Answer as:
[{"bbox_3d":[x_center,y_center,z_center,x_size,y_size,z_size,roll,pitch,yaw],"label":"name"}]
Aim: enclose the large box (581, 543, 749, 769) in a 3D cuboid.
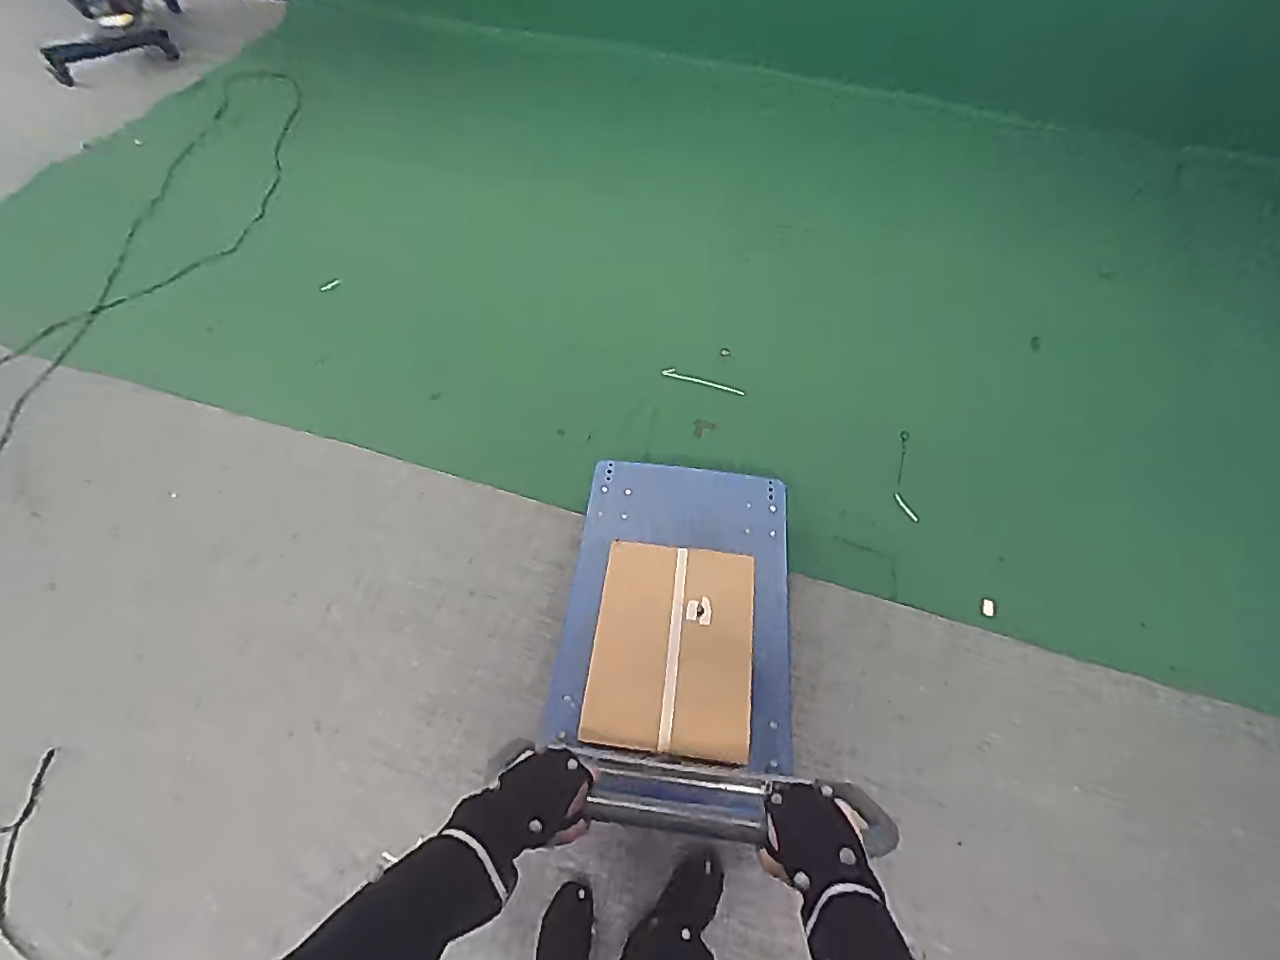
[{"bbox_3d":[0.064,0.401,1.217,0.320,0.320,0.408,7,58,3],"label":"large box"}]
